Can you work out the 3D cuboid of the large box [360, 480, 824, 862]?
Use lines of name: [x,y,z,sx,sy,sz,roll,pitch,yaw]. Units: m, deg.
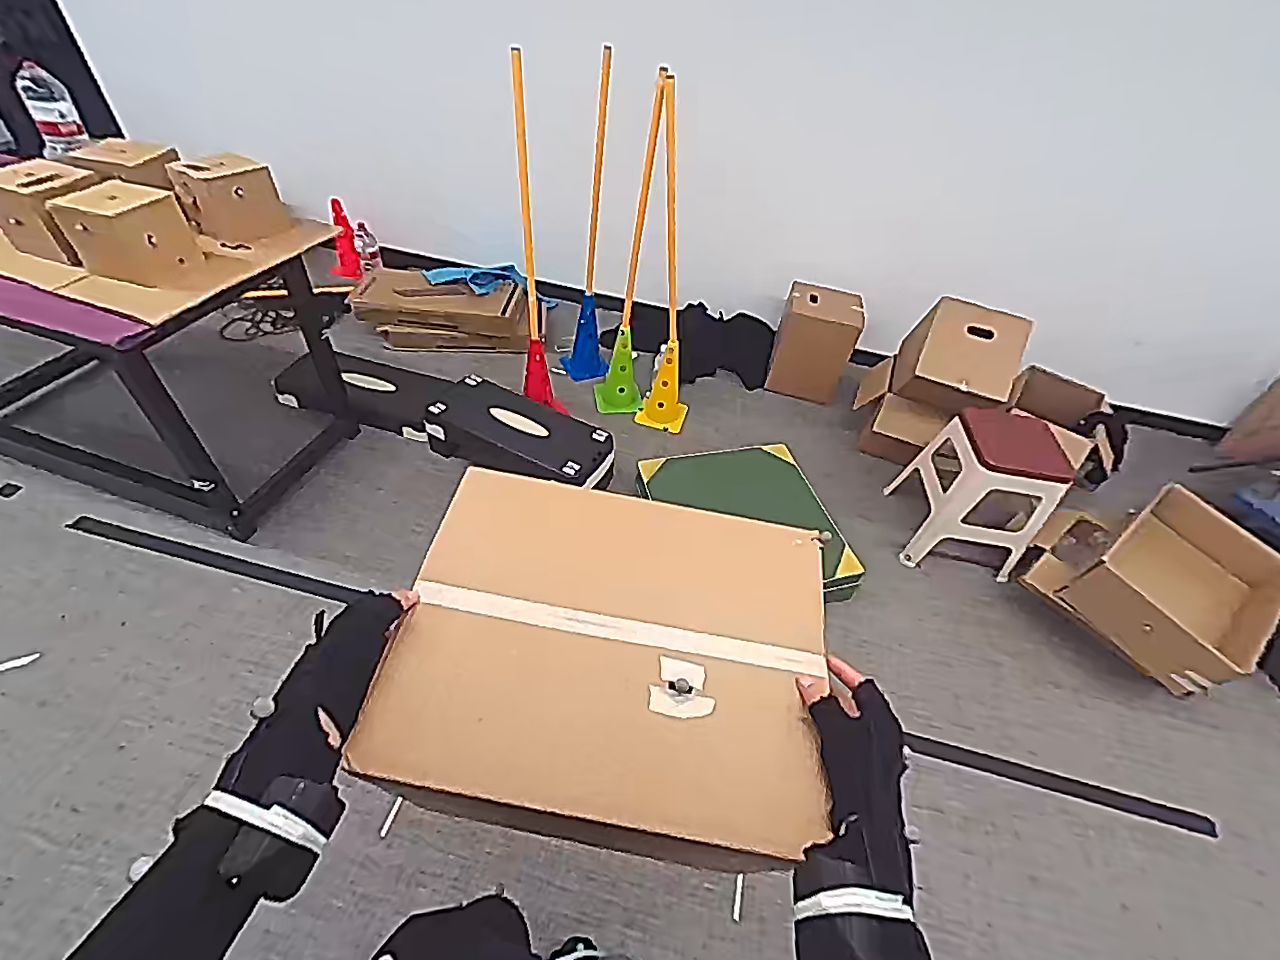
large box: [-0.037,0.240,0.656,0.408,0.320,0.320,11,54,1]
